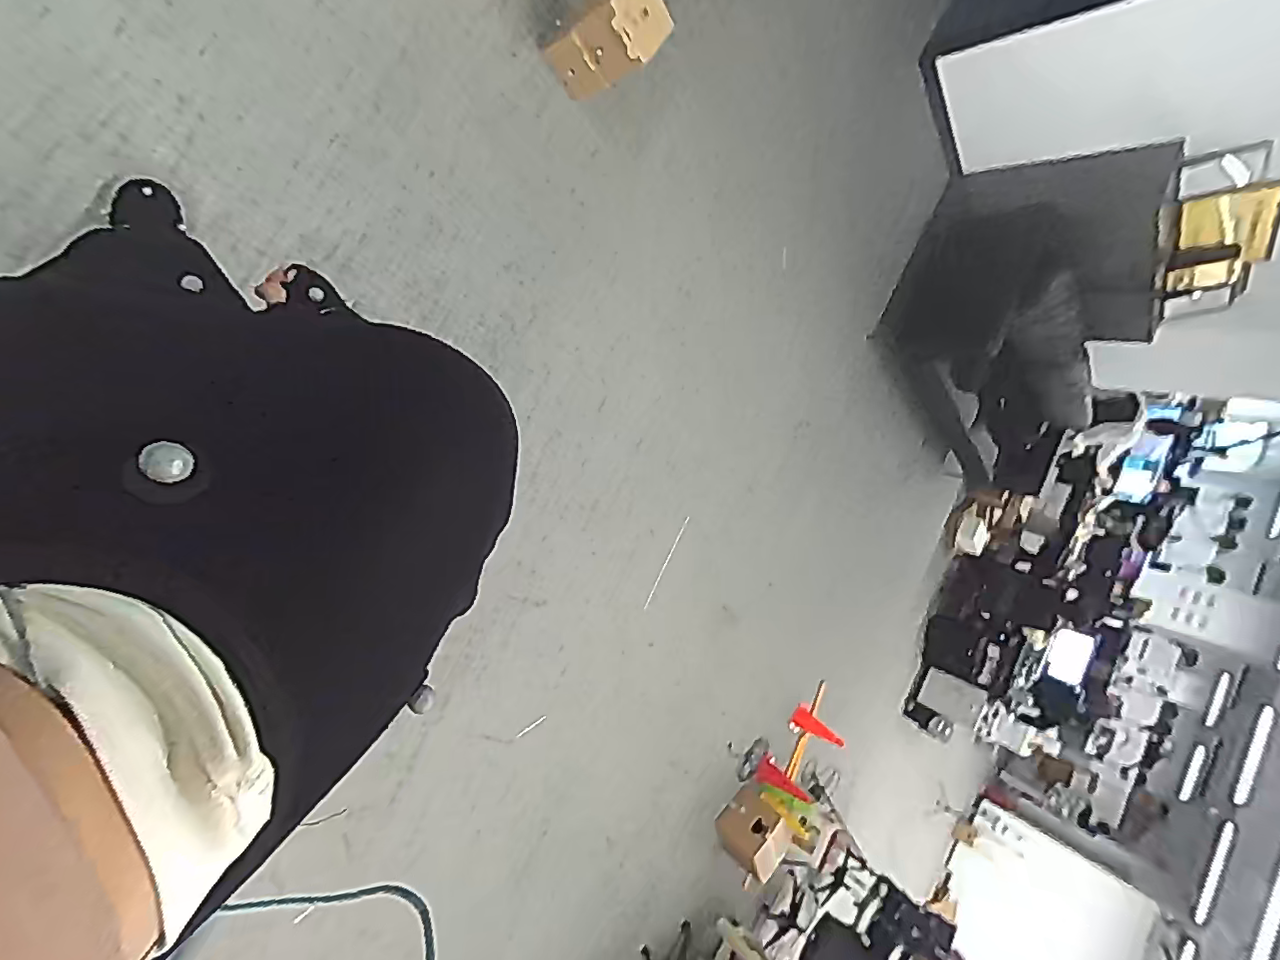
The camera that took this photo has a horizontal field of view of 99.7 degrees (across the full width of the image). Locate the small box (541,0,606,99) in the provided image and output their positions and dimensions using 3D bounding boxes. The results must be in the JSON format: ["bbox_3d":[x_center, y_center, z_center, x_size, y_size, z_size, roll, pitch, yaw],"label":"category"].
[{"bbox_3d":[-0.170,-1.293,1.621,0.168,0.176,0.179,37,79,-43],"label":"small box"}]

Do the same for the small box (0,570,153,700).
[{"bbox_3d":[-1.092,0.294,1.042,0.179,0.176,0.168,37,77,-43],"label":"small box"}]

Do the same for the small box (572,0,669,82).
[{"bbox_3d":[-0.057,-1.263,1.505,0.168,0.176,0.179,42,74,-41],"label":"small box"}]
